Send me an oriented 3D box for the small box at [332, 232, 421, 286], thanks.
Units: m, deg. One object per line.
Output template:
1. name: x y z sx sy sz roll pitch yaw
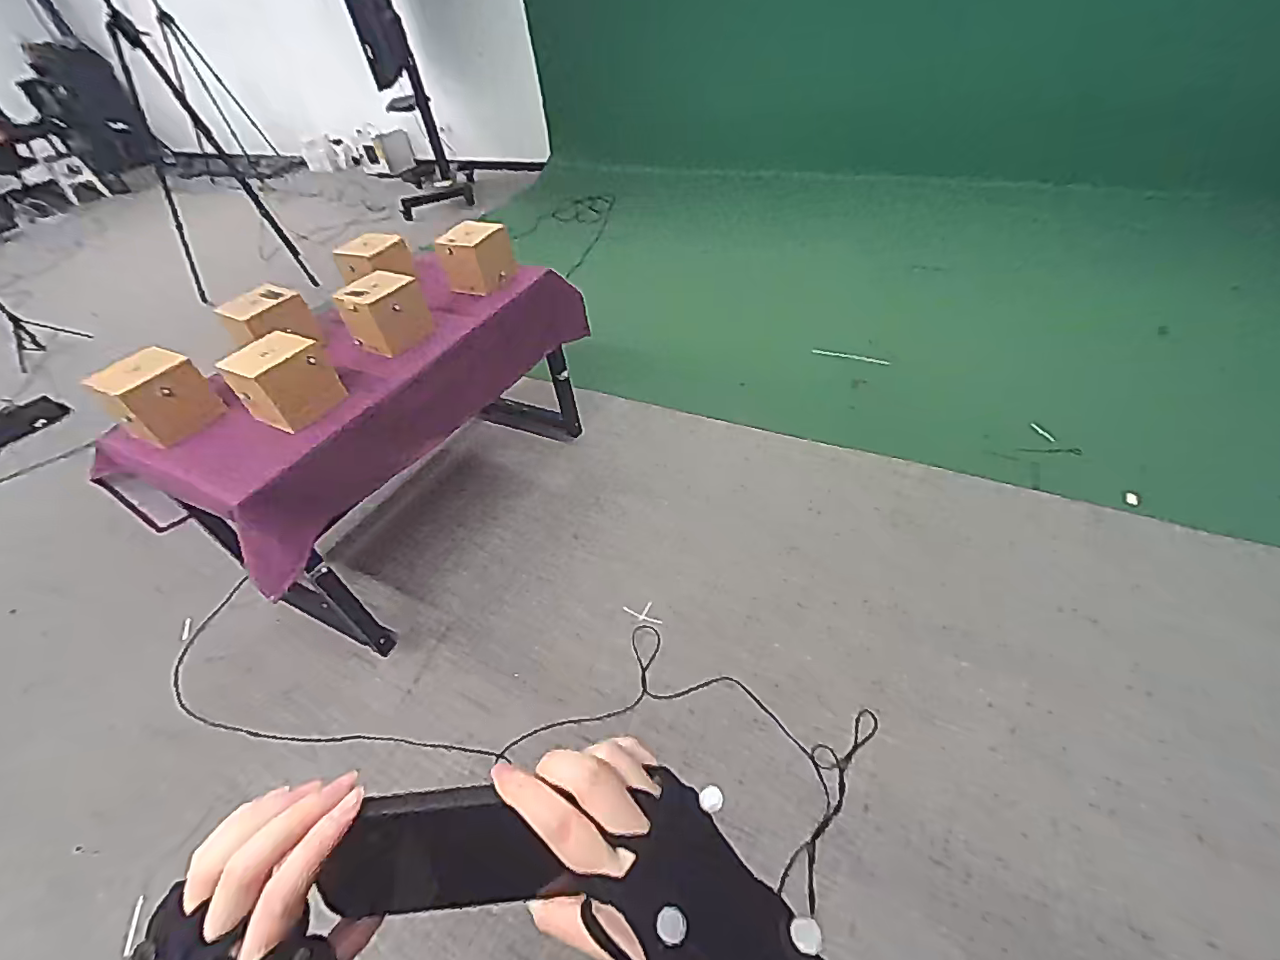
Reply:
1. small box: -0.878 -0.715 1.817 0.179 0.176 0.168 15 50 21

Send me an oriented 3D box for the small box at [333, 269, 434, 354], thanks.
1. small box: -0.735 -0.488 1.570 0.168 0.176 0.179 20 50 25

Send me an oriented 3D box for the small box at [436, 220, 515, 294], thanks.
1. small box: -0.535 -0.740 1.792 0.168 0.176 0.179 16 49 23

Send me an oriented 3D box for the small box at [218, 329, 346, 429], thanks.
1. small box: -0.886 -0.252 1.356 0.168 0.176 0.179 18 49 24
